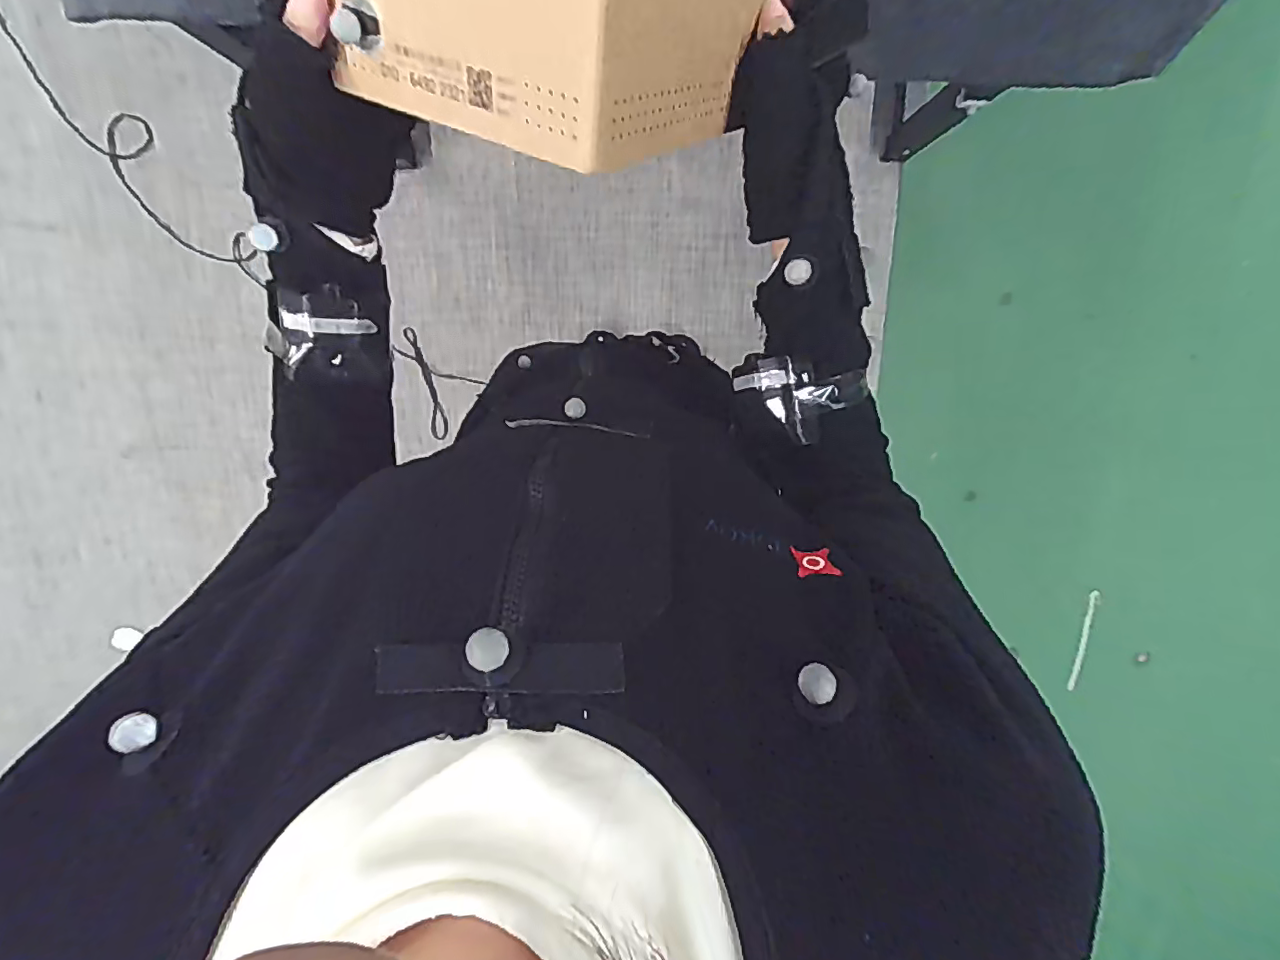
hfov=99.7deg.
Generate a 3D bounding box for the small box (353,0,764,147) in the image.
[{"bbox_3d":[-0.032,-0.282,0.262,0.168,0.179,0.176,29,138,16],"label":"small box"}]
